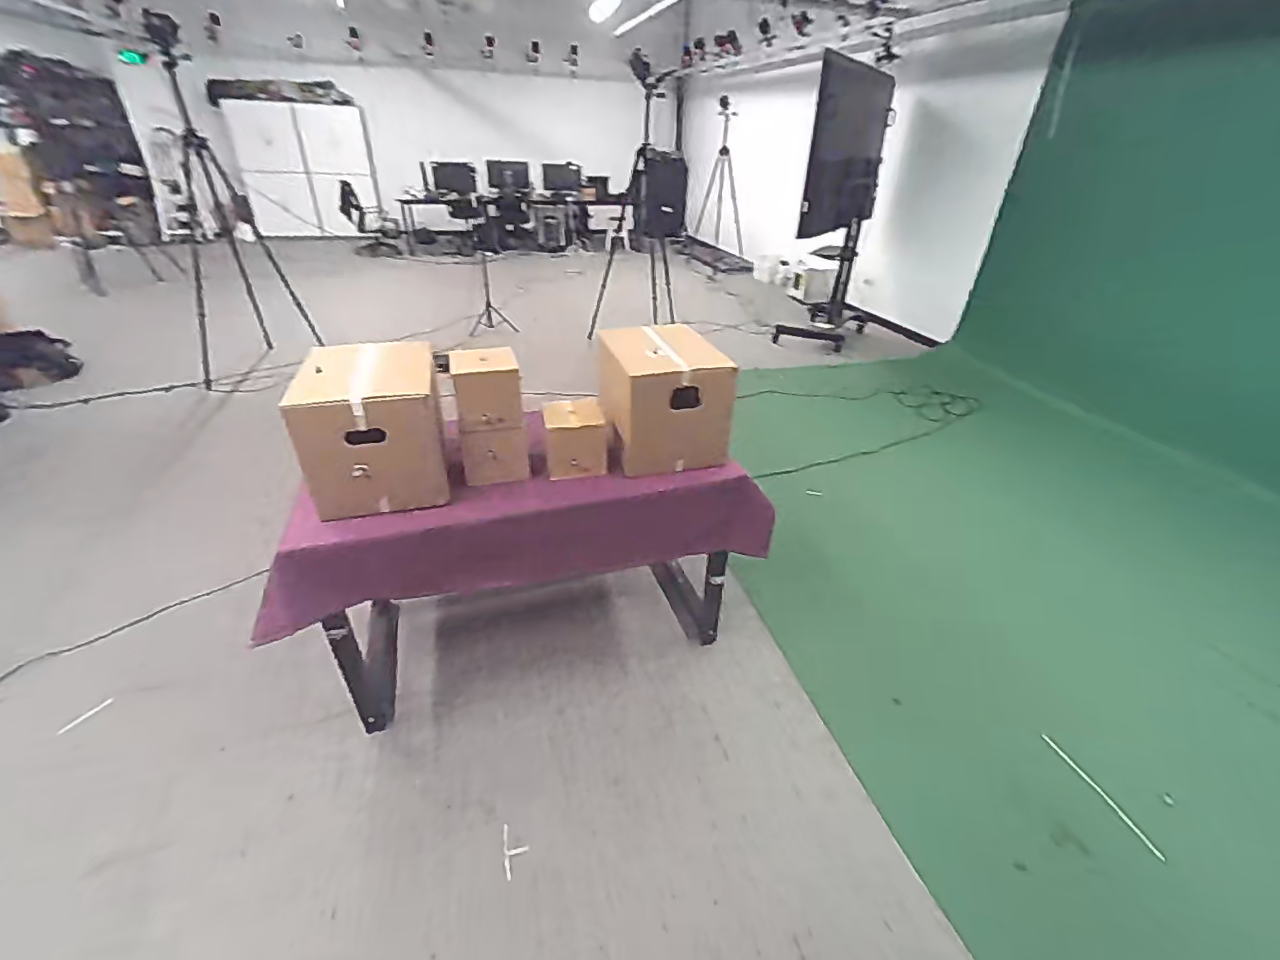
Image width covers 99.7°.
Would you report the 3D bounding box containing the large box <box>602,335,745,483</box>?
[{"bbox_3d":[0.077,-0.236,1.674,0.320,0.320,0.408,-7,34,-15],"label":"large box"}]
